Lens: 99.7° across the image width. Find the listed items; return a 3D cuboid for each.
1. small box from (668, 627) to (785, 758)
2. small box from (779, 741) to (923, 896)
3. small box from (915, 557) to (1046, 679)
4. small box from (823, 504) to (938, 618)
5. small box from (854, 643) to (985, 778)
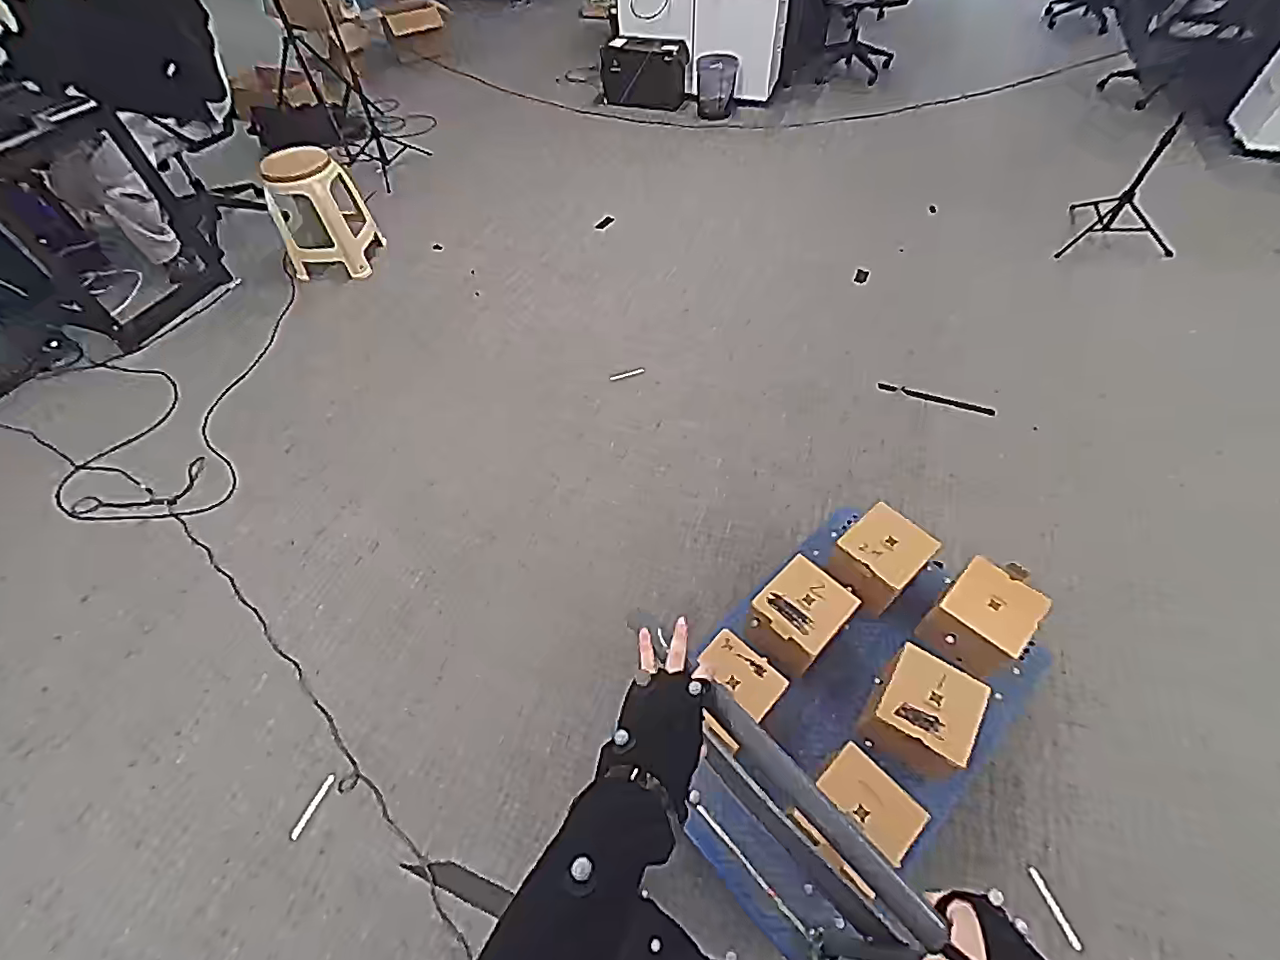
[{"bbox_3d":[0.175,0.451,1.135,0.168,0.176,0.179,38,64,25],"label":"small box"},{"bbox_3d":[0.378,0.626,1.003,0.179,0.176,0.168,-36,61,-22],"label":"small box"},{"bbox_3d":[0.751,0.314,1.214,0.179,0.176,0.168,-39,61,-23],"label":"small box"},{"bbox_3d":[0.569,0.197,1.306,0.179,0.176,0.168,-35,60,-21],"label":"small box"},{"bbox_3d":[0.560,0.474,1.105,0.168,0.176,0.179,30,60,22],"label":"small box"}]
